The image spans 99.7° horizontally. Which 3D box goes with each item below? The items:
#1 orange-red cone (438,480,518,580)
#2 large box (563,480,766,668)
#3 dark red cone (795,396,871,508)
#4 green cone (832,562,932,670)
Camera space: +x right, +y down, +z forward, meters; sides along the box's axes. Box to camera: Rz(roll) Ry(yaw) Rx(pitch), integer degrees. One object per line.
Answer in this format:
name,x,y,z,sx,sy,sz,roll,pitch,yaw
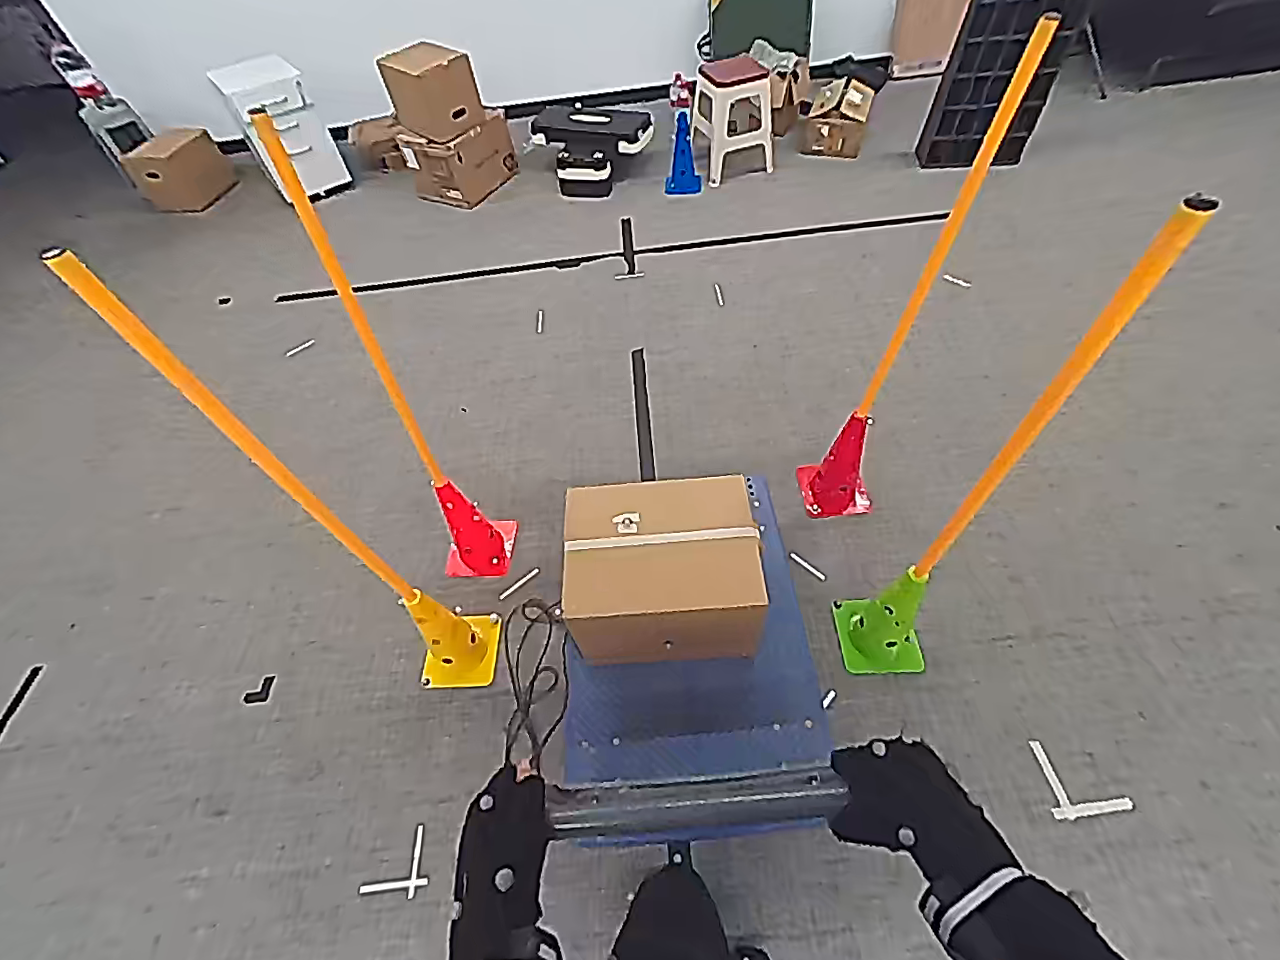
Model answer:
orange-red cone,-0.511,0.120,1.585,0.198,0.360,0.199,0,52,5
large box,0.055,0.229,1.257,0.408,0.320,0.320,-6,53,3
dark red cone,0.603,-0.091,1.592,0.201,0.394,0.202,-5,53,0
green cone,0.621,0.306,1.313,0.202,0.368,0.200,-3,53,3
